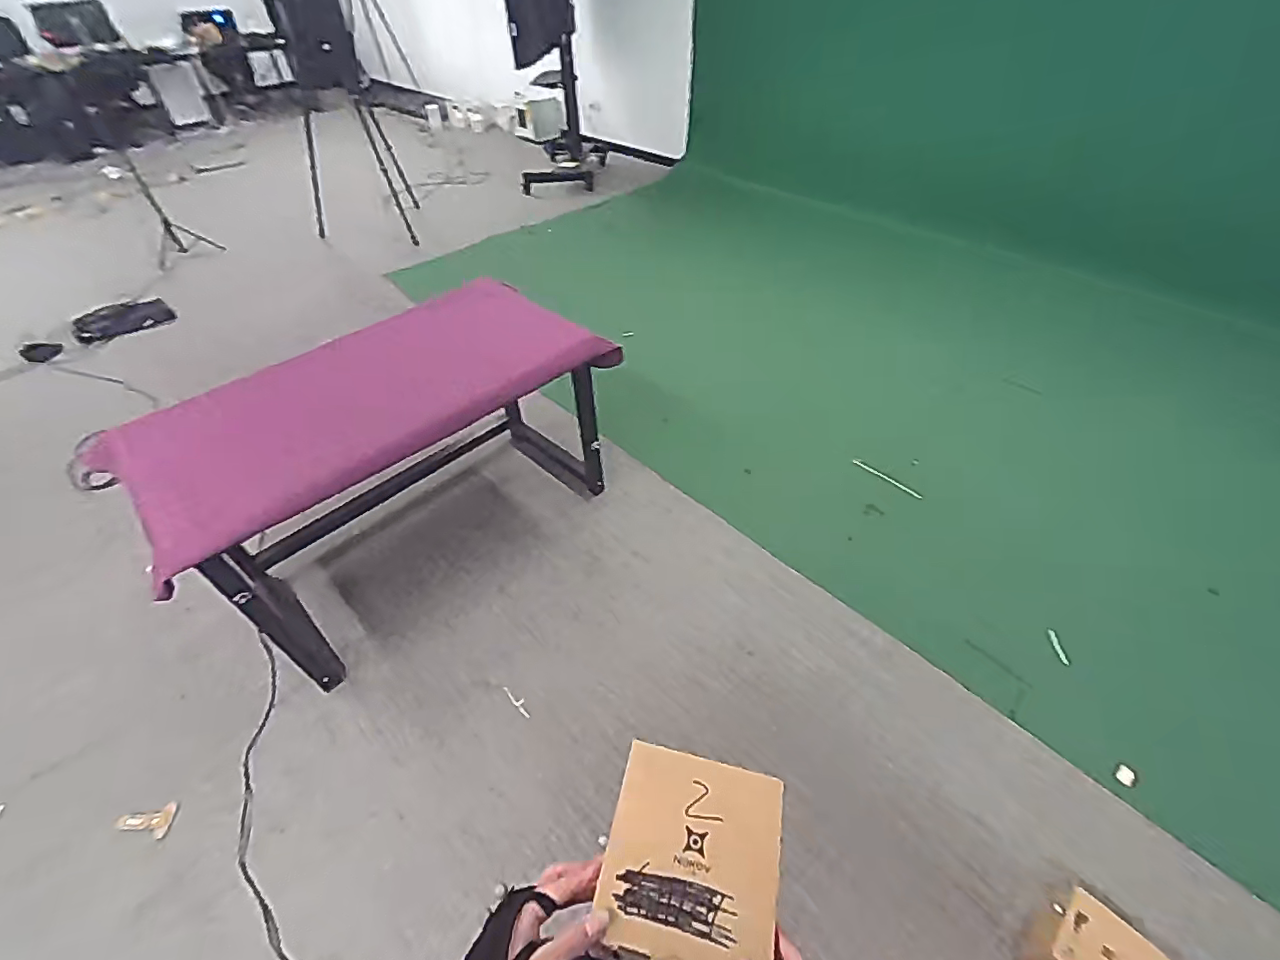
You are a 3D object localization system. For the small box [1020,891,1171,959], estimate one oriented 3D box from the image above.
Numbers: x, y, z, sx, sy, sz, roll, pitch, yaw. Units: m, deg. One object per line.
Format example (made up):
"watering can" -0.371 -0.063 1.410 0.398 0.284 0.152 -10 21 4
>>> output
"small box" 0.953 1.015 1.133 0.168 0.176 0.179 -35 55 -28
